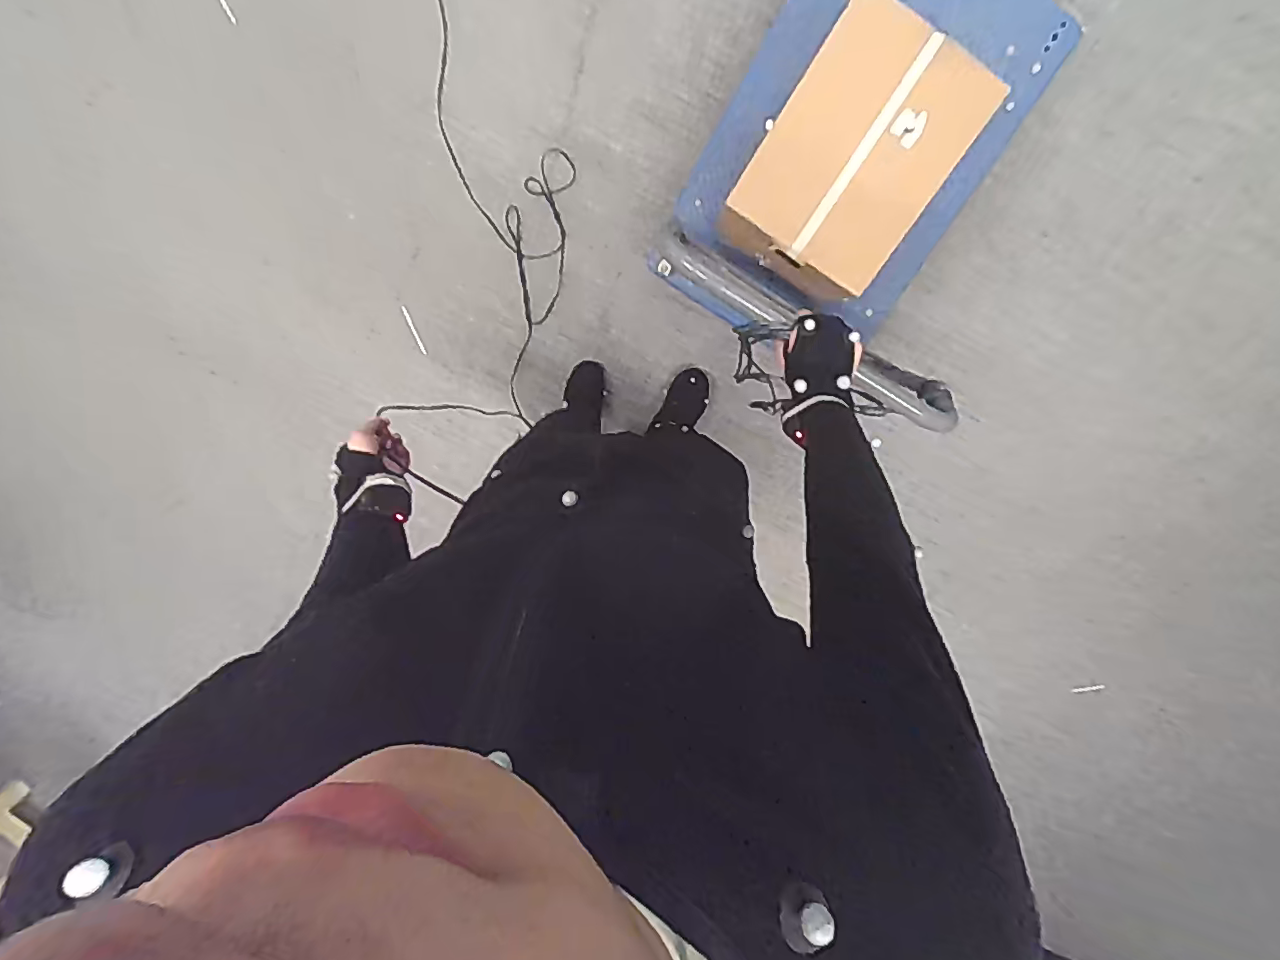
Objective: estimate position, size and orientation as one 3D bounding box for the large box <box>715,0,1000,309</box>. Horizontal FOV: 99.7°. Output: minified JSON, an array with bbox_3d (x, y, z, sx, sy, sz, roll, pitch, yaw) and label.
[{"bbox_3d":[0.395,-0.611,1.103,0.320,0.320,0.408,32,105,-7],"label":"large box"}]
